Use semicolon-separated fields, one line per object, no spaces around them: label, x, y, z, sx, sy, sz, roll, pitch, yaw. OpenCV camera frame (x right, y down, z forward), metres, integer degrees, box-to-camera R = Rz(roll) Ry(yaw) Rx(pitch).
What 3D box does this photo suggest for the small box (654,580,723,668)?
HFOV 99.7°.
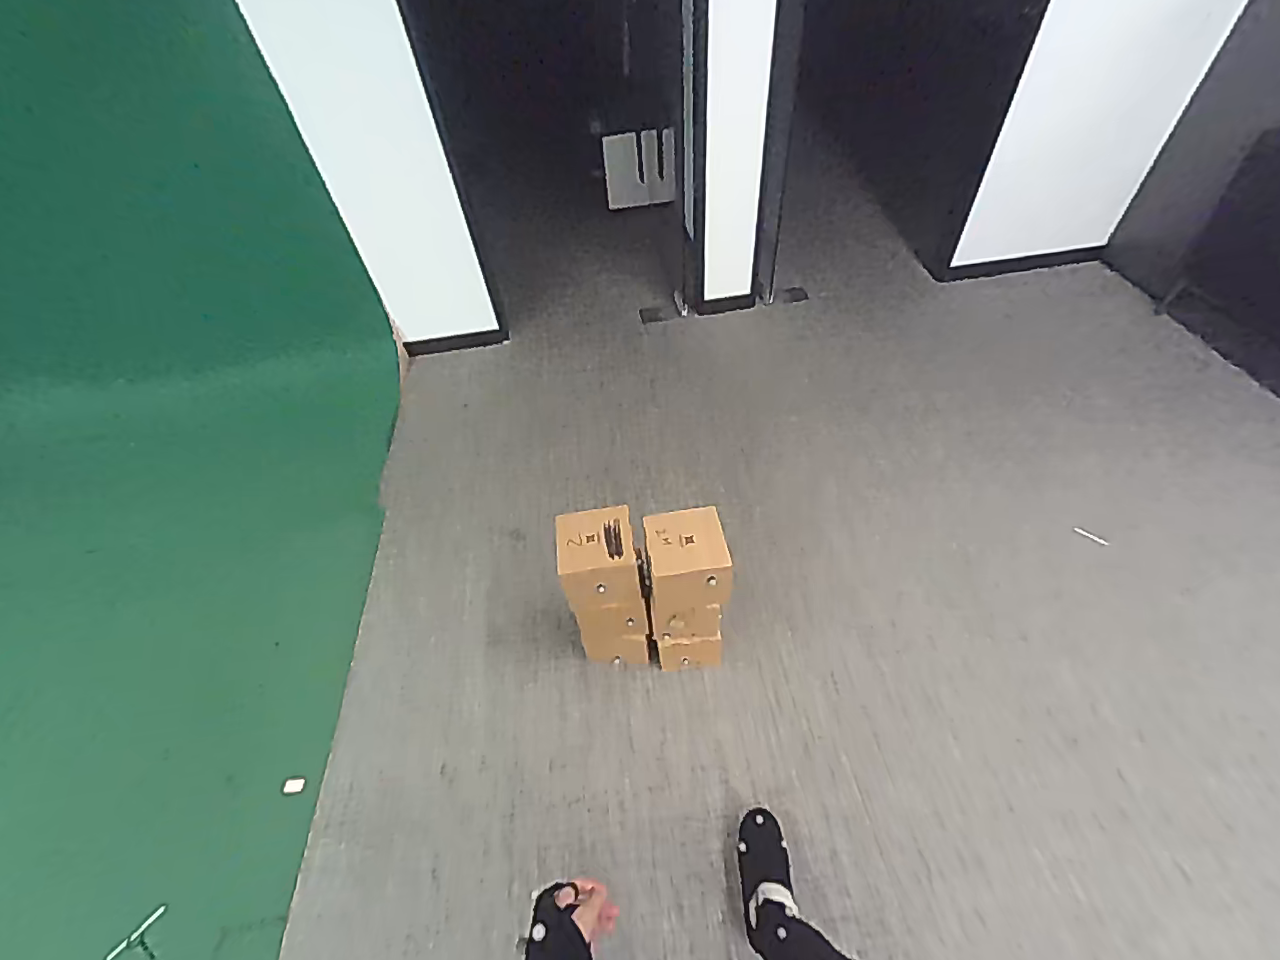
small box;0.131;0.402;1.506;0.168;0.176;0.179;-8;51;-1
